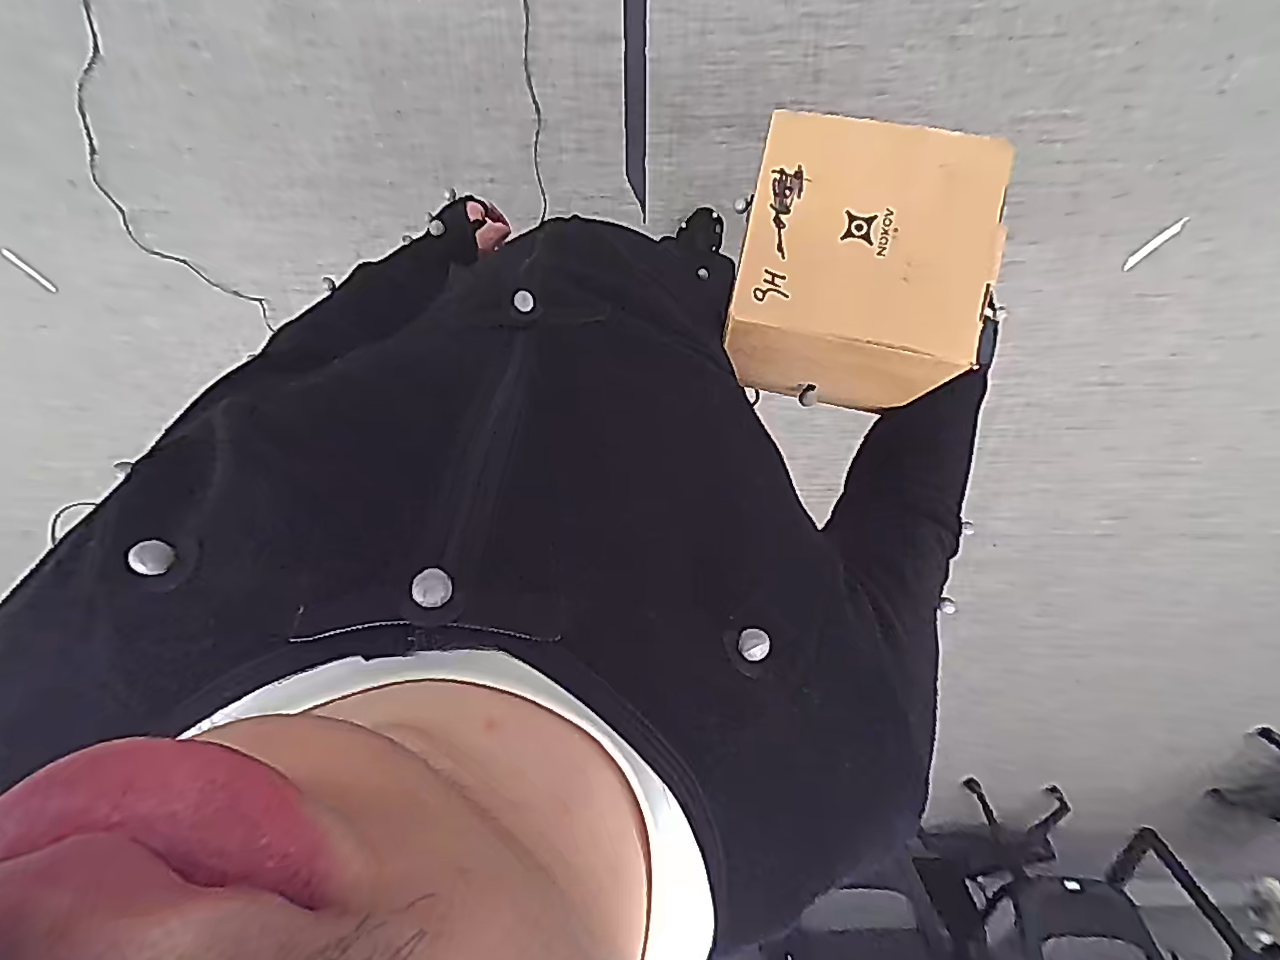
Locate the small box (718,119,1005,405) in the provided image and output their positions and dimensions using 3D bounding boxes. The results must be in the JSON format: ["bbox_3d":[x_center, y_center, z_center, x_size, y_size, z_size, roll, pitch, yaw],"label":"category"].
[{"bbox_3d":[0.176,-0.173,0.483,0.179,0.176,0.168,13,86,5],"label":"small box"}]
